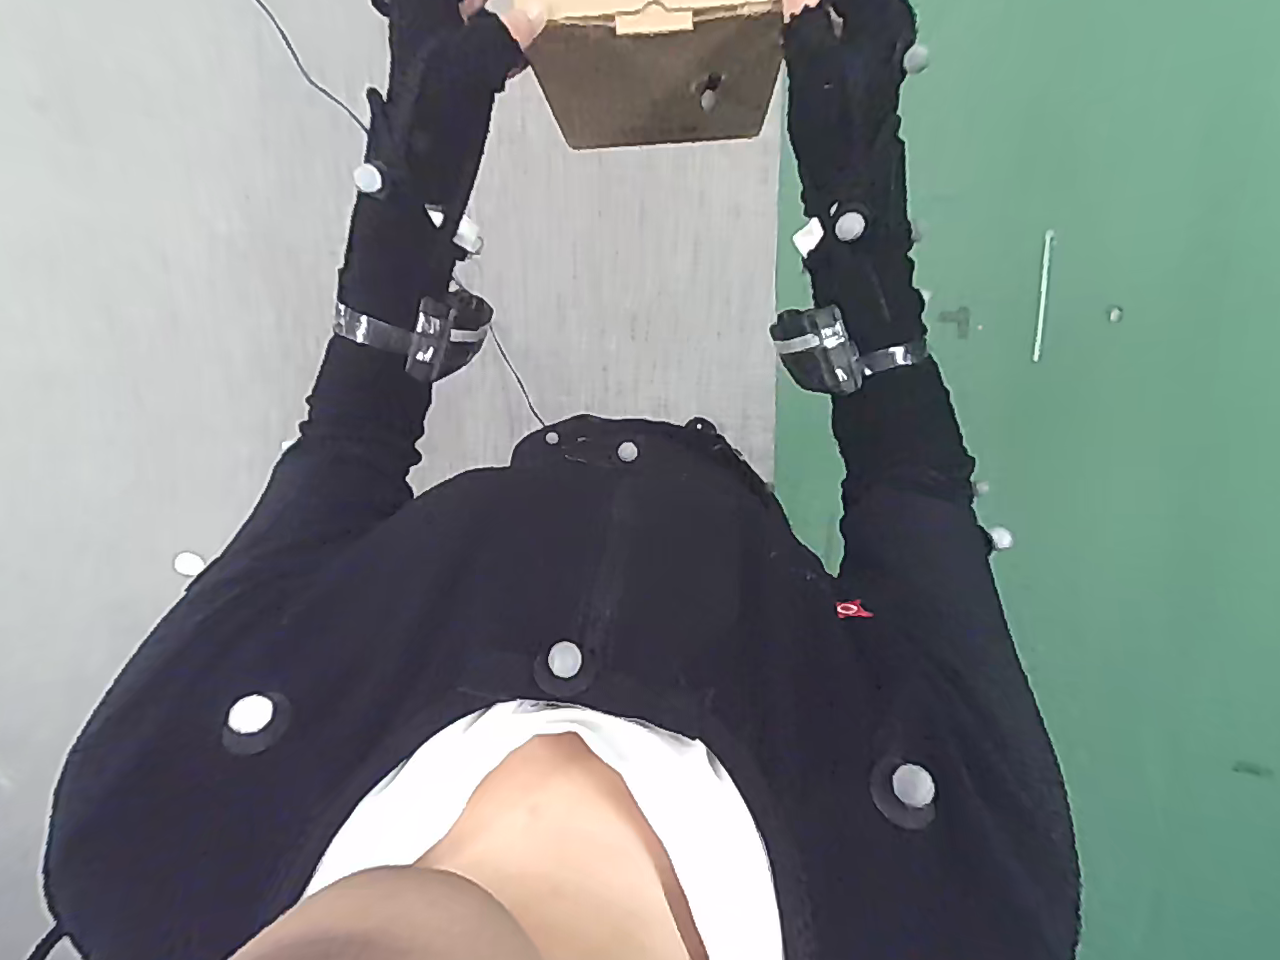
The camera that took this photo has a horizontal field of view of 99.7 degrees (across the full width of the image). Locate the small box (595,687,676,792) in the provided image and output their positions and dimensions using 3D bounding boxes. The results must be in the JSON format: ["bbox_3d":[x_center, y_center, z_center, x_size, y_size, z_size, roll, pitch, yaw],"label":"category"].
[{"bbox_3d":[-0.009,0.659,1.400,0.168,0.176,0.179,-16,96,4],"label":"small box"}]
